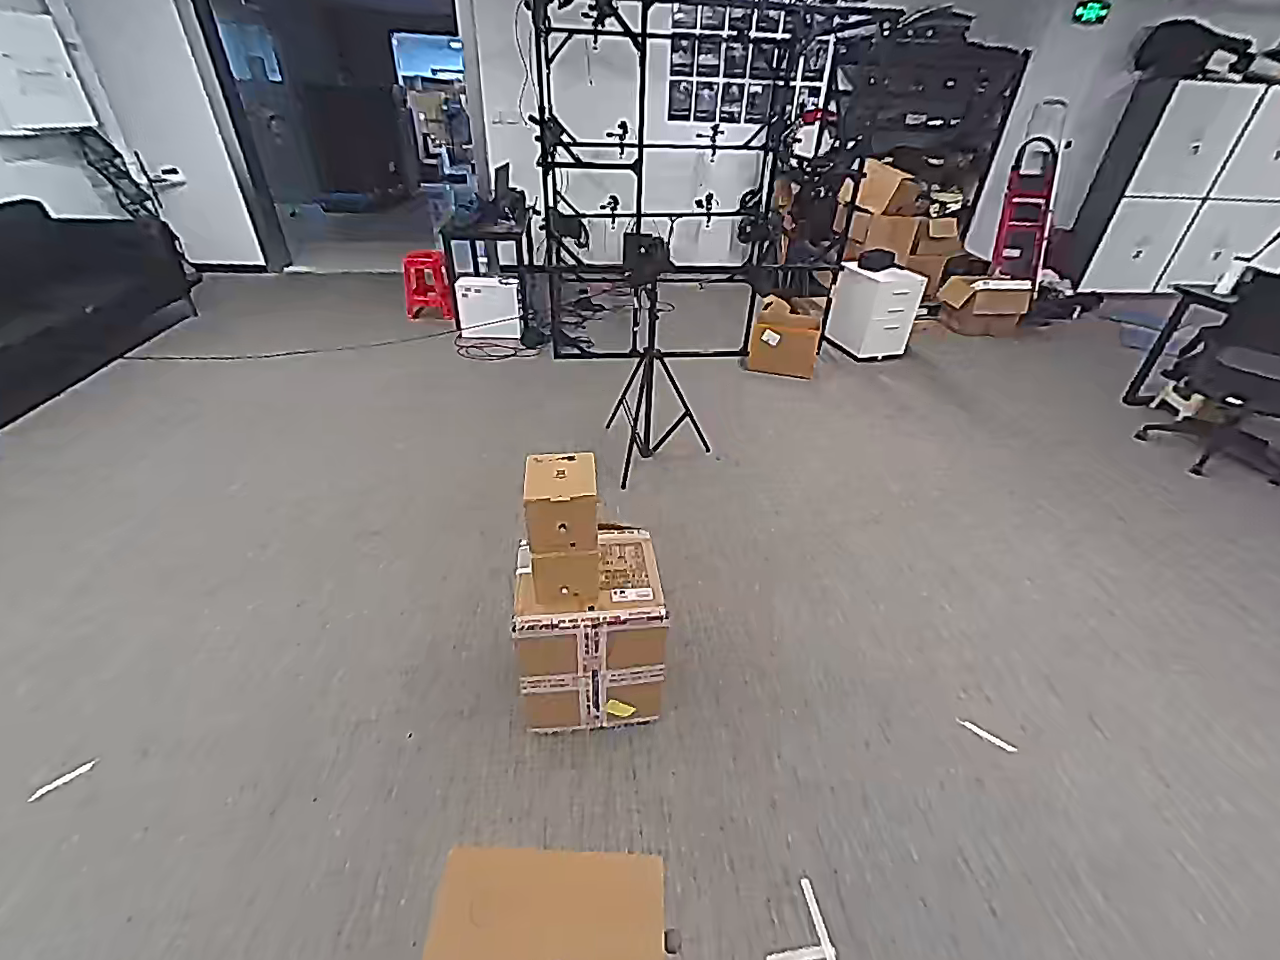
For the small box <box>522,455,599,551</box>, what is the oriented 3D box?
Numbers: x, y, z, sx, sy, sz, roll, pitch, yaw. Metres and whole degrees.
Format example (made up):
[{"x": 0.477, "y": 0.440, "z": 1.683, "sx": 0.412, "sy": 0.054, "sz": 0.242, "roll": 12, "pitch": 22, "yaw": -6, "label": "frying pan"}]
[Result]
[{"x": -0.187, "y": 0.060, "z": 1.311, "sx": 0.168, "sy": 0.176, "sz": 0.179, "roll": -3, "pitch": 38, "yaw": -6, "label": "small box"}]

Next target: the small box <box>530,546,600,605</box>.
[{"x": -0.193, "y": 0.198, "z": 1.399, "sx": 0.168, "sy": 0.176, "sz": 0.179, "roll": -4, "pitch": 38, "yaw": -7, "label": "small box"}]
